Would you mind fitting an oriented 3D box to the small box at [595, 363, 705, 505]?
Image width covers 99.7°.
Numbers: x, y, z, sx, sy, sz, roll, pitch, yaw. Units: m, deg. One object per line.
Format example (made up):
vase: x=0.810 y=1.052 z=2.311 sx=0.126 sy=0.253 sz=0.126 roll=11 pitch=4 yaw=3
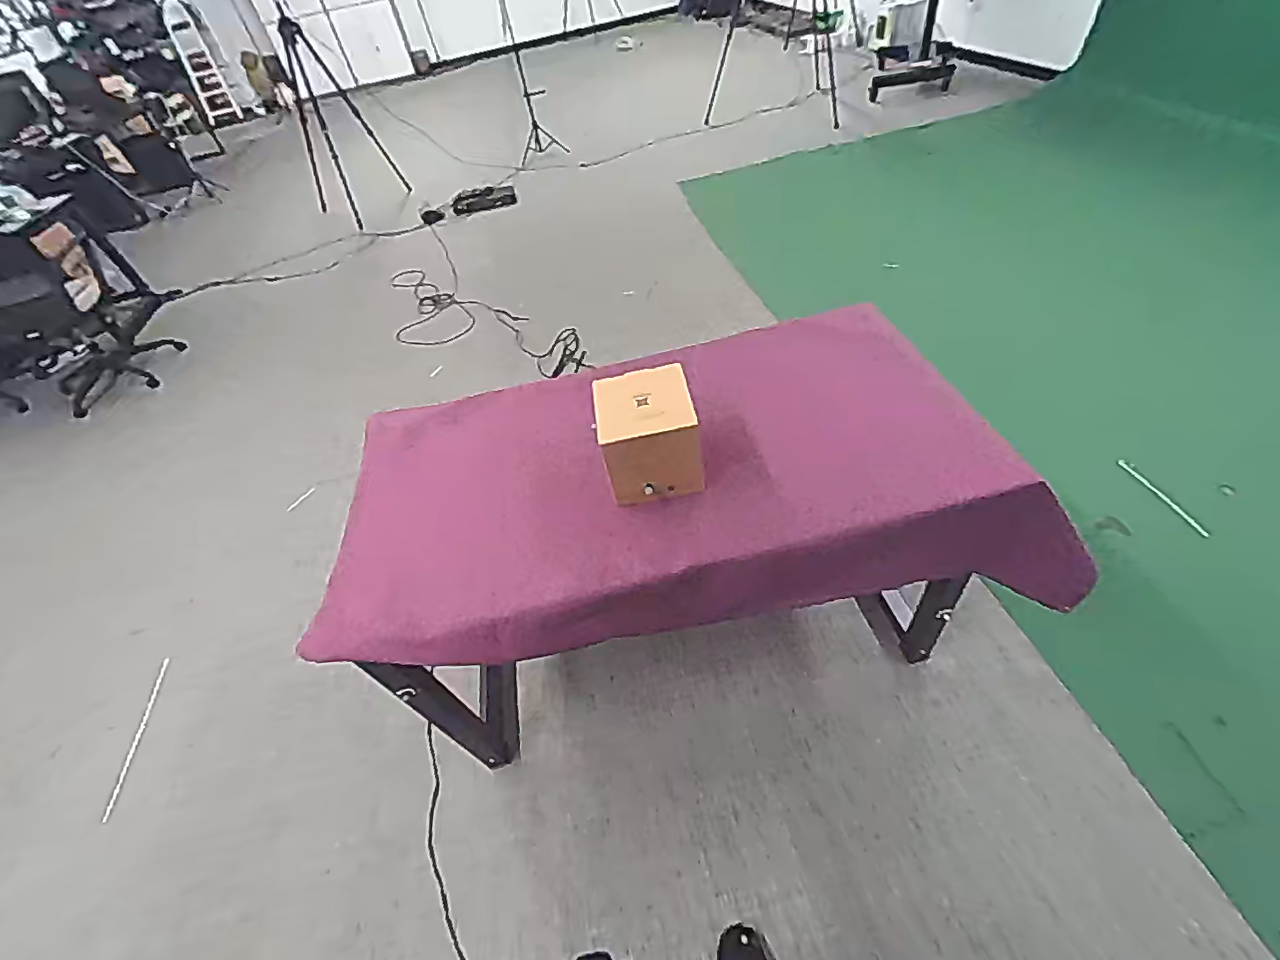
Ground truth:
small box: x=0.018 y=-0.082 z=0.977 sx=0.168 sy=0.176 sz=0.179 roll=-11 pitch=48 yaw=2
